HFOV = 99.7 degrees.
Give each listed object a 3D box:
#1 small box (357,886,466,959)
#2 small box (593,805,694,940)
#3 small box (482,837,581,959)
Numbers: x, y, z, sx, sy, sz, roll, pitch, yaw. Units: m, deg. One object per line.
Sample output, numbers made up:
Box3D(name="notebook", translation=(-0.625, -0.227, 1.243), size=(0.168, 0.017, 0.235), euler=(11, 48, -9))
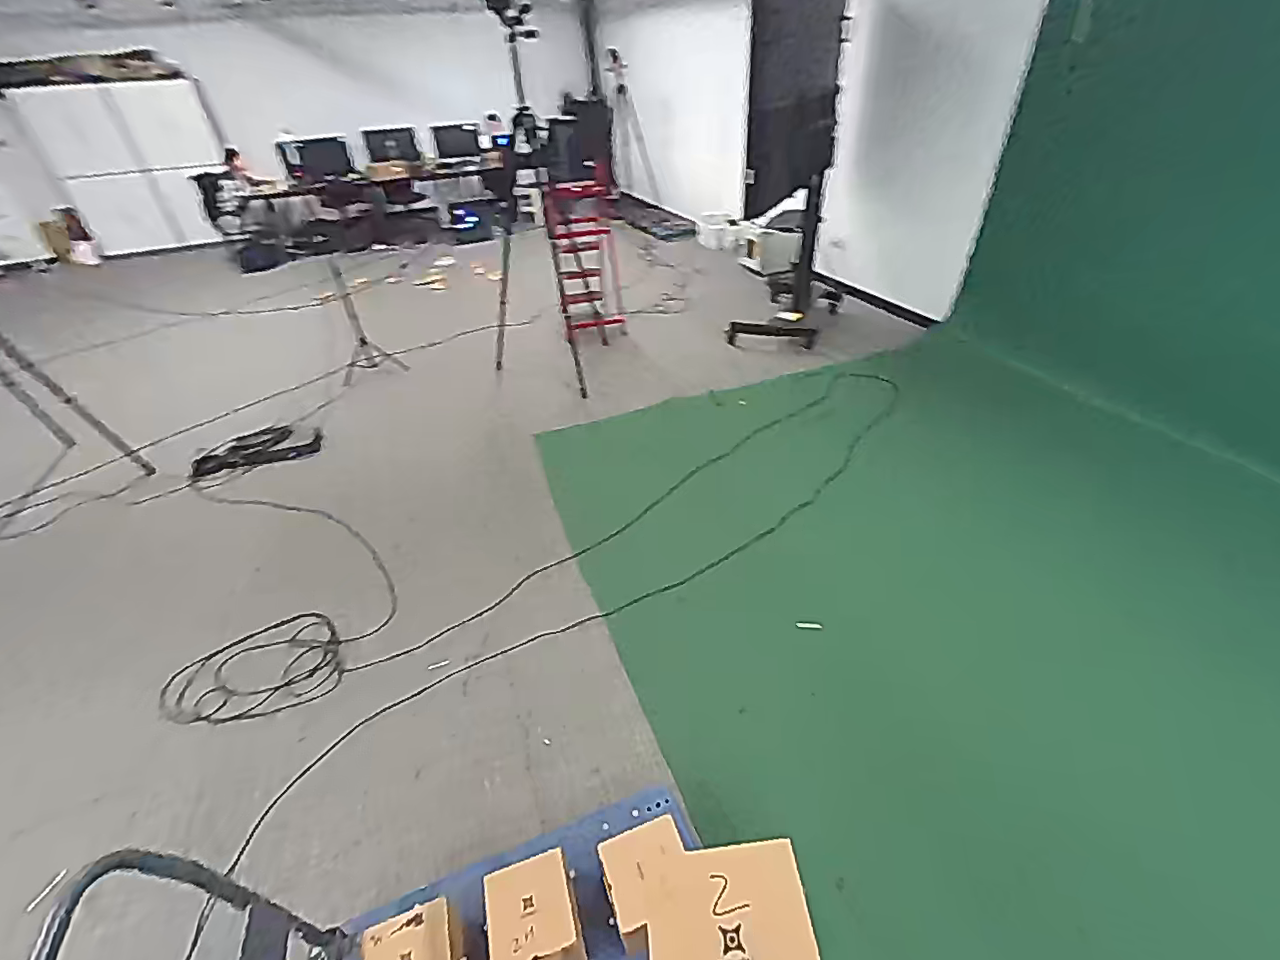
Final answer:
Box3D(name="small box", translation=(-0.448, 0.962, 1.077), size=(0.168, 0.176, 0.179), euler=(-15, 40, -14))
Box3D(name="small box", translation=(0.010, 0.856, 1.177), size=(0.179, 0.176, 0.168), euler=(-15, 40, -13))
Box3D(name="small box", translation=(-0.227, 0.902, 1.137), size=(0.168, 0.176, 0.179), euler=(-14, 39, -12))
